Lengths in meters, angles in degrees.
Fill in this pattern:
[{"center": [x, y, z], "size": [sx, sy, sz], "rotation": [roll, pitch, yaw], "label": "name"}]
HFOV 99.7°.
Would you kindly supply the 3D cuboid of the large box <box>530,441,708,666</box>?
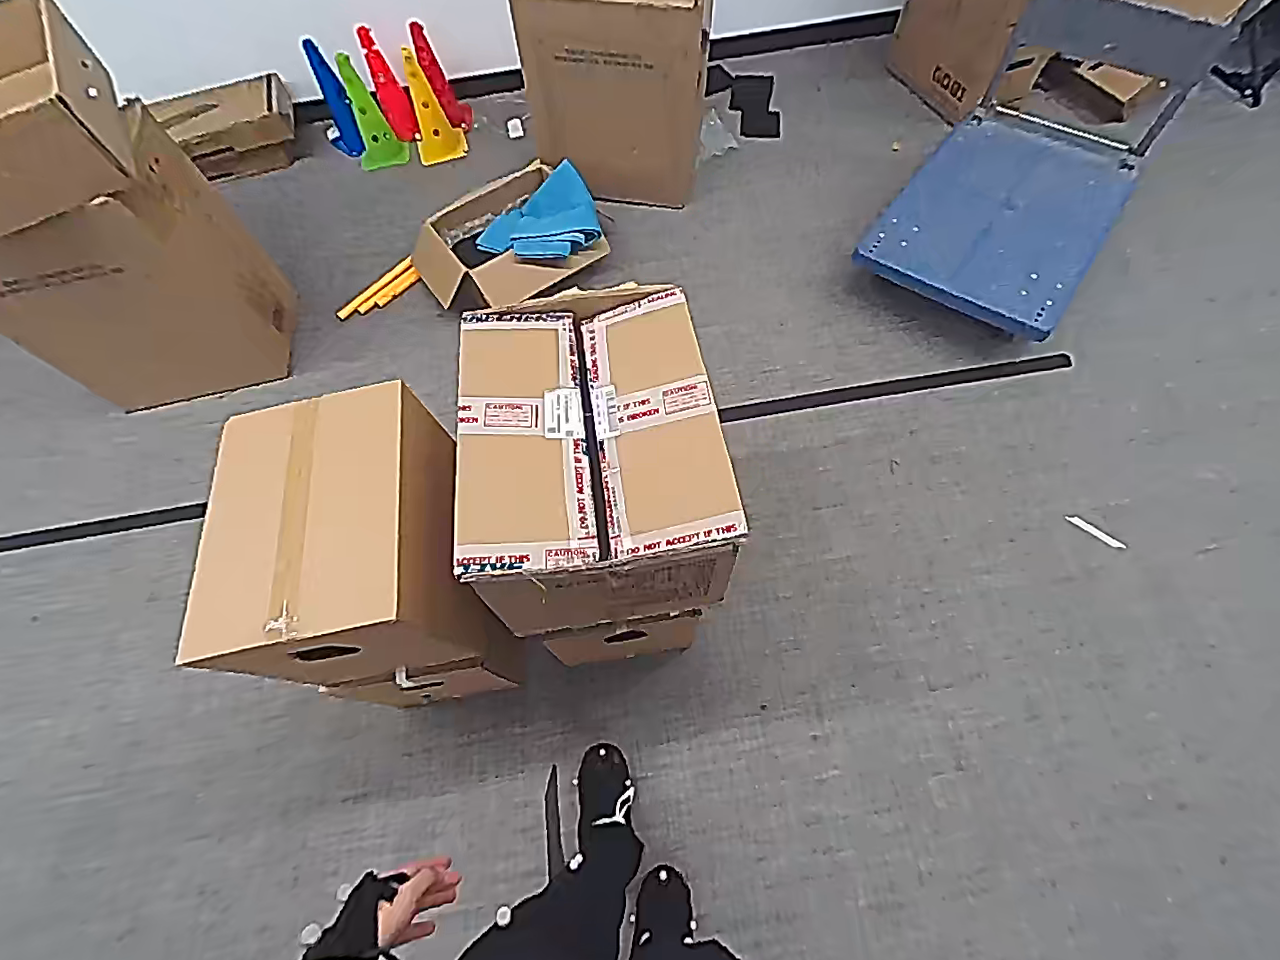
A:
[{"center": [-0.051, 0.176, 1.244], "size": [0.320, 0.320, 0.408], "rotation": [-10, 63, -2], "label": "large box"}]
